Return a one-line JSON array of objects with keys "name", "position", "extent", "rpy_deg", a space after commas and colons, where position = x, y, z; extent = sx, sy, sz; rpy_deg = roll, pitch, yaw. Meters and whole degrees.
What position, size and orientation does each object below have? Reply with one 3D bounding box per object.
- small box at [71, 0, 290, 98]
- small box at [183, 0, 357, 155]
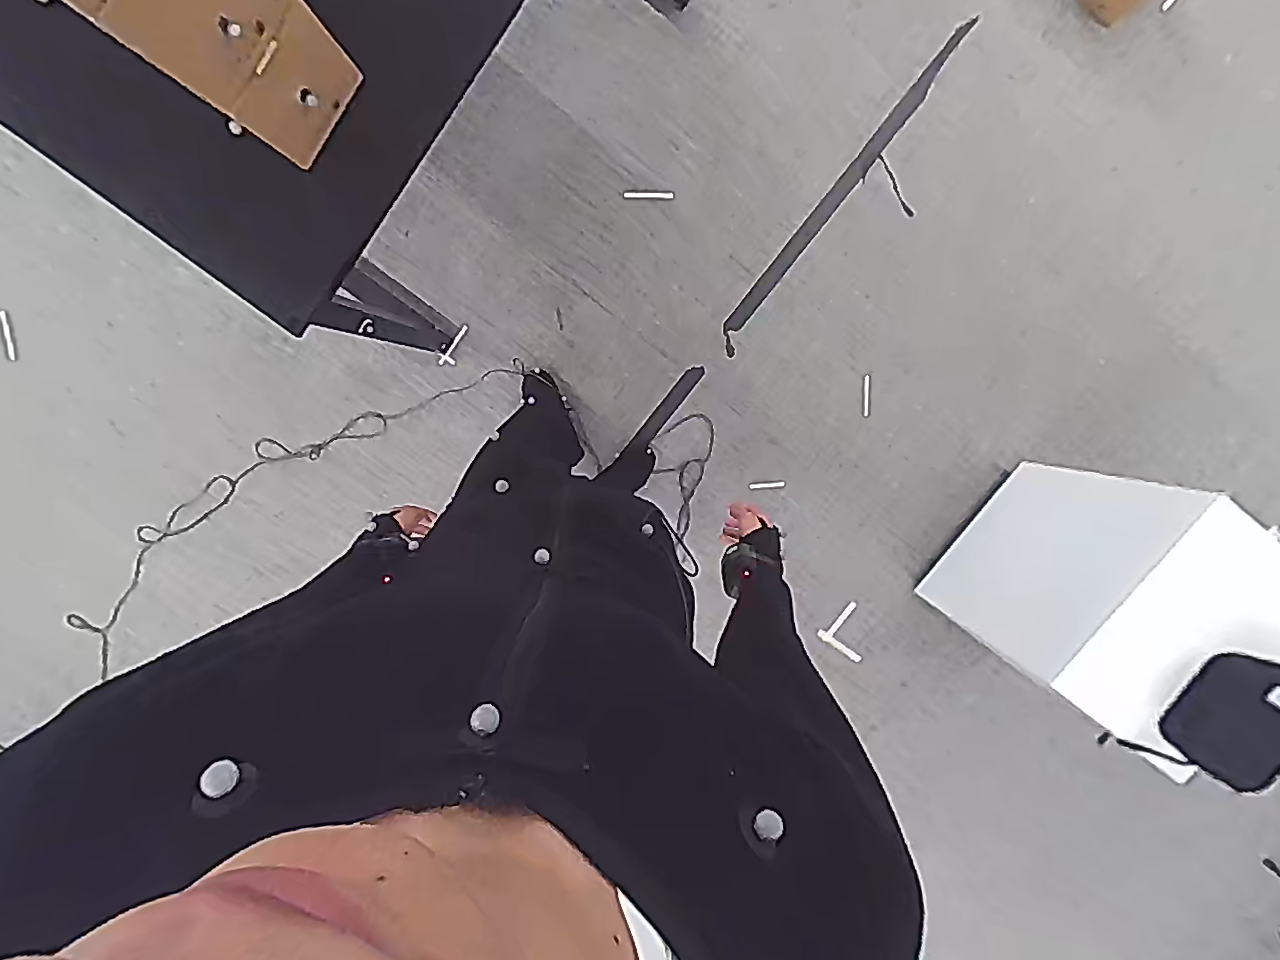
[{"name": "small box", "position": [-0.515, -0.545, 0.549], "extent": [0.179, 0.176, 0.168], "rpy_deg": [36, 97, -6]}, {"name": "small box", "position": [-0.518, -0.569, 0.712], "extent": [0.179, 0.176, 0.168], "rpy_deg": [35, 96, -7]}]
